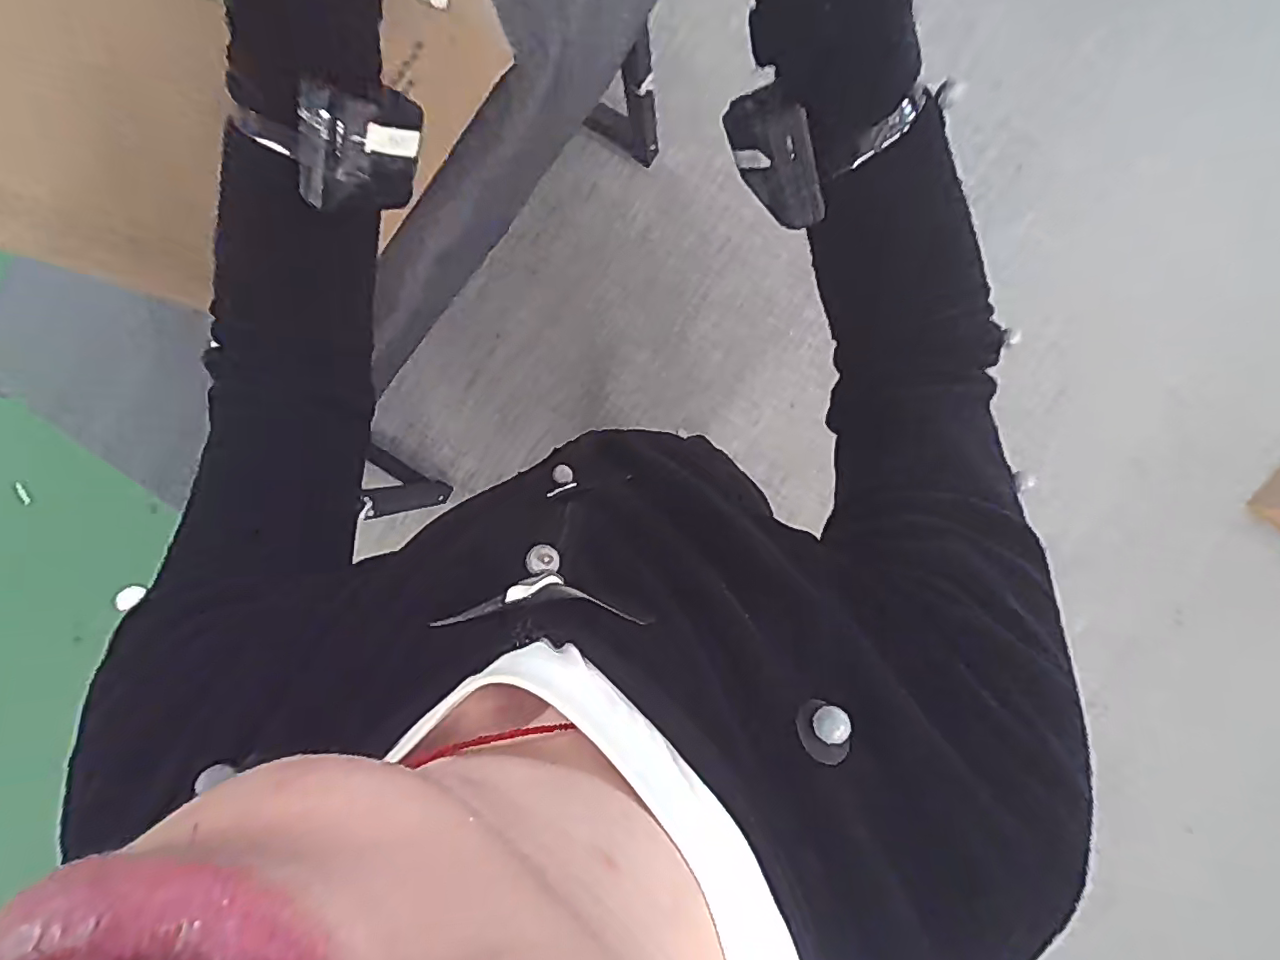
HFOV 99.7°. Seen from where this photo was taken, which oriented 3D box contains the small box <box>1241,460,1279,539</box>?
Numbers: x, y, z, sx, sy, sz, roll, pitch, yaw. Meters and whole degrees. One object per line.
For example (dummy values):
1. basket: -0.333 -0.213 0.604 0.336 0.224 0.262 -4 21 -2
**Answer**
1. small box: 1.699 0.052 1.352 0.168 0.176 0.179 39 94 1
